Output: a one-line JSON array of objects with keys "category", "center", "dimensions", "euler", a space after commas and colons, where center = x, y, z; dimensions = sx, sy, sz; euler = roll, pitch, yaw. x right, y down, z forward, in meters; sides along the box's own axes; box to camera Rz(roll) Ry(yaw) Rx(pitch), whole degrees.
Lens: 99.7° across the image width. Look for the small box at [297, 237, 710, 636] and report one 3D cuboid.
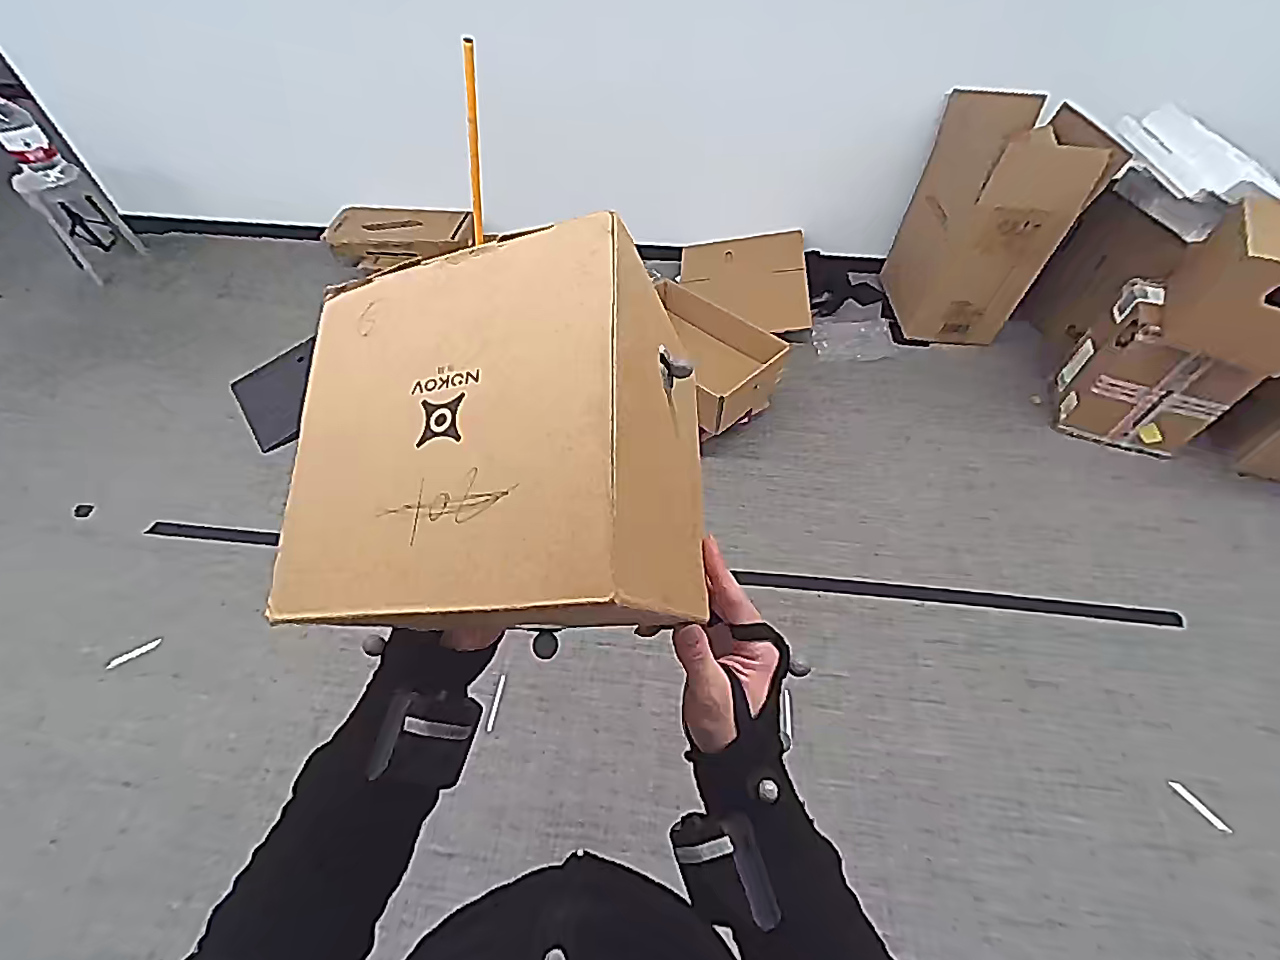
[{"category": "small box", "center": [-0.058, -0.001, 0.323], "dimensions": [0.168, 0.176, 0.179], "euler": [-8, 72, 17]}]
